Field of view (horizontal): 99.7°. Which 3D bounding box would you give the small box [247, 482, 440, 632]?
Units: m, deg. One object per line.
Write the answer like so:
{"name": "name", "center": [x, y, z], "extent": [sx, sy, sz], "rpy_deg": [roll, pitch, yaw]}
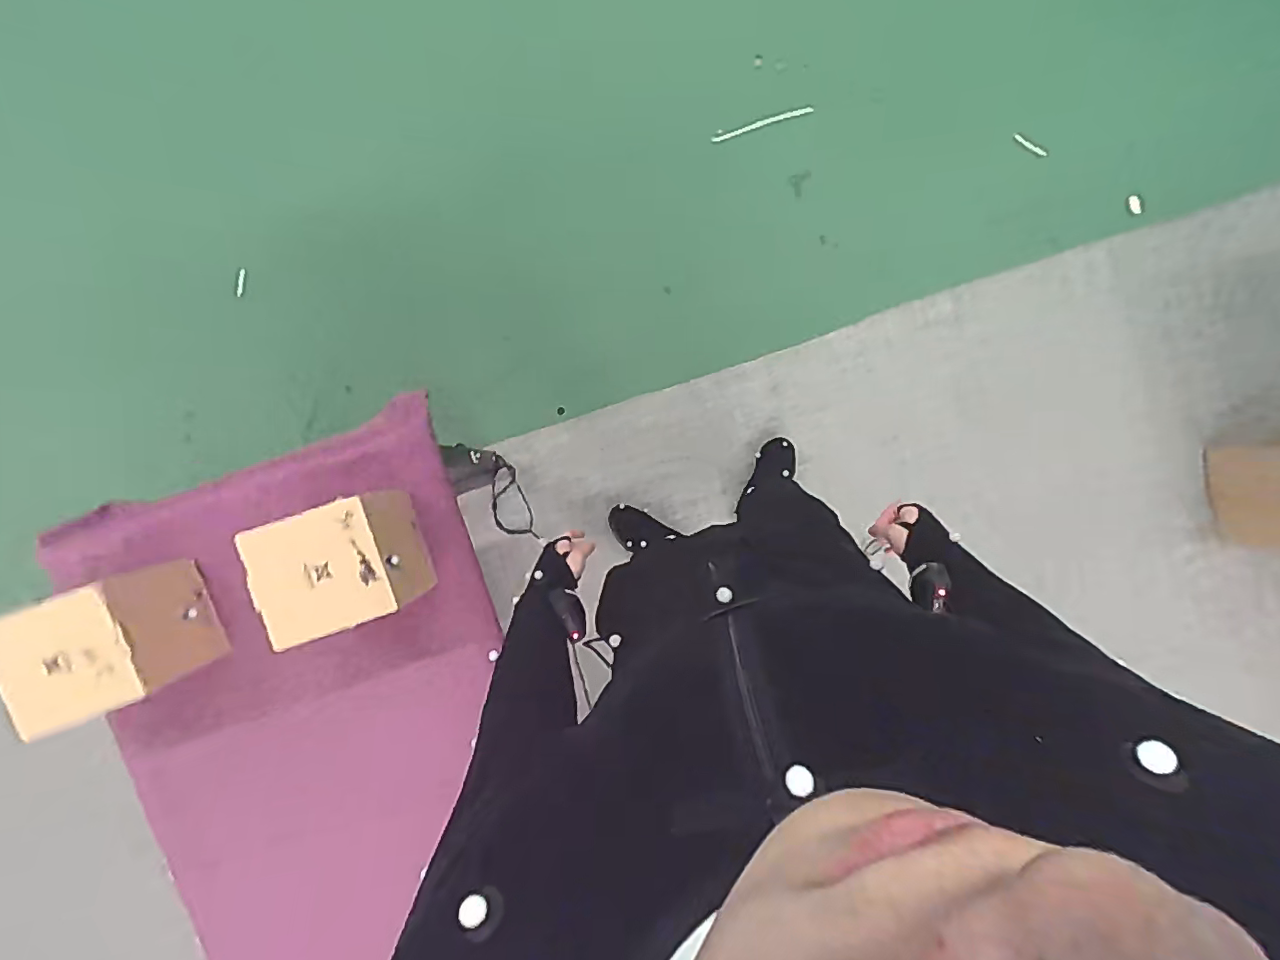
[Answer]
{"name": "small box", "center": [-0.438, 0.107, 0.827], "extent": [0.179, 0.176, 0.168], "rpy_deg": [-18, 93, 0]}
